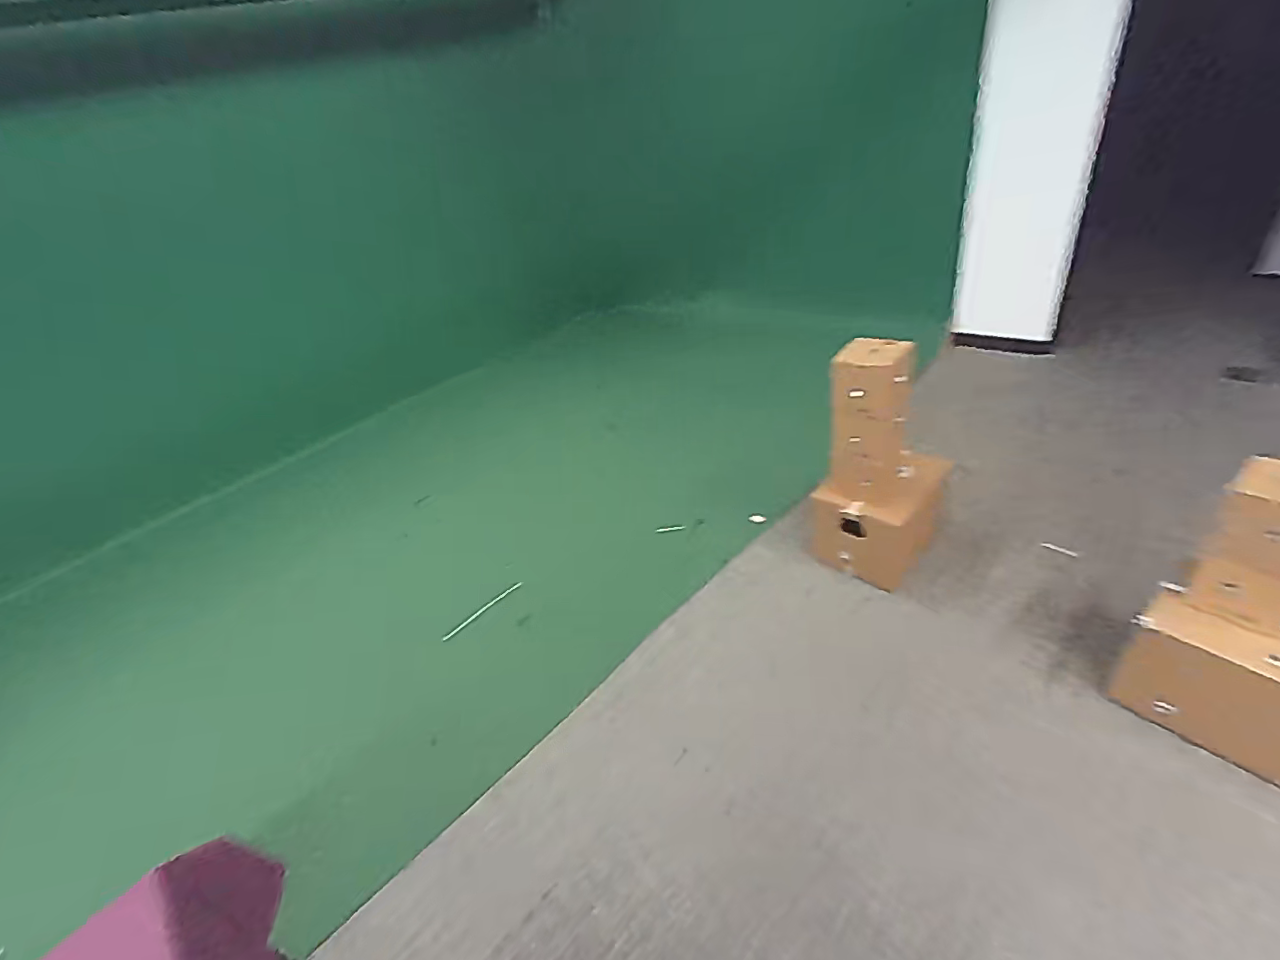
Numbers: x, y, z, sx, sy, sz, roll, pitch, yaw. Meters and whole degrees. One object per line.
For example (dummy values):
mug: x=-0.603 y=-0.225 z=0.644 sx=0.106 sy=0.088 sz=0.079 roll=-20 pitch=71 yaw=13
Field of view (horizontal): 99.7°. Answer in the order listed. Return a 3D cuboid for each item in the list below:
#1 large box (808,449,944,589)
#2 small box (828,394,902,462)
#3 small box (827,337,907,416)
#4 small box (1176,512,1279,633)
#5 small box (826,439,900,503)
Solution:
large box: x=0.852 y=0.118 z=1.966 sx=0.408 sy=0.320 sz=0.320 roll=-37 pitch=40 yaw=-30
small box: x=0.714 y=-0.179 z=1.715 sx=0.168 sy=0.176 sz=0.179 roll=18 pitch=45 yaw=37
small box: x=0.681 y=-0.310 z=1.620 sx=0.168 sy=0.176 sz=0.179 roll=20 pitch=47 yaw=39
small box: x=1.370 y=0.210 z=1.224 sx=0.179 sy=0.176 sz=0.168 roll=-31 pitch=38 yaw=-26
small box: x=0.742 y=-0.045 z=1.804 sx=0.179 sy=0.176 sz=0.168 roll=21 pitch=47 yaw=41
